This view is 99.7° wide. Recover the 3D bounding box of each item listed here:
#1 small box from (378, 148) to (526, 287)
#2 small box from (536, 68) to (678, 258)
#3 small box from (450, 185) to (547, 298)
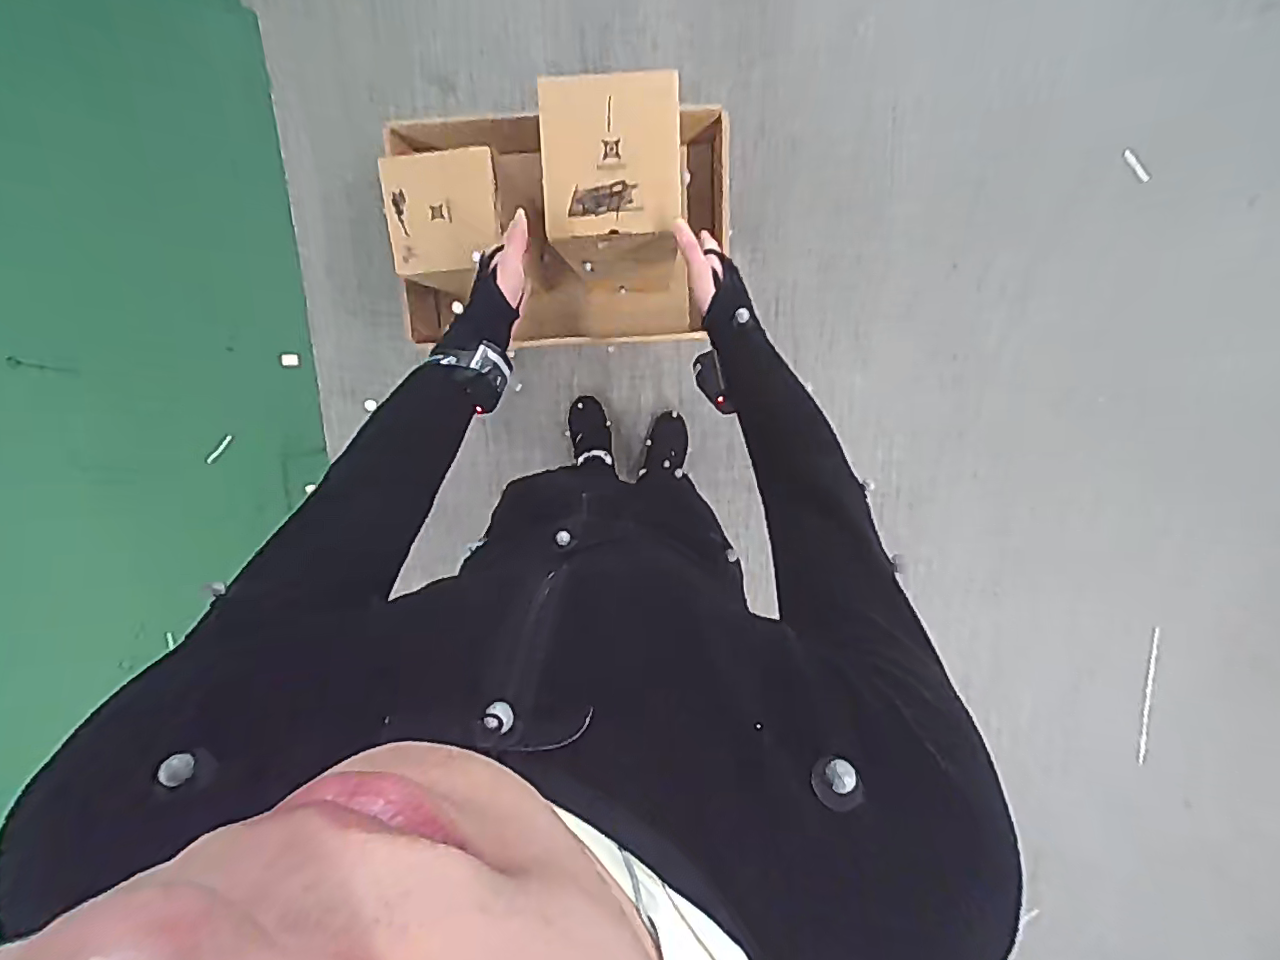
[{"bbox_3d":[-0.291,-0.417,0.883,0.179,0.176,0.168,-5,101,2],"label":"small box"},{"bbox_3d":[-0.034,-0.396,0.710,0.168,0.176,0.179,-1,100,2],"label":"small box"},{"bbox_3d":[-0.287,-0.450,1.044,0.179,0.176,0.168,-3,101,1],"label":"small box"}]
